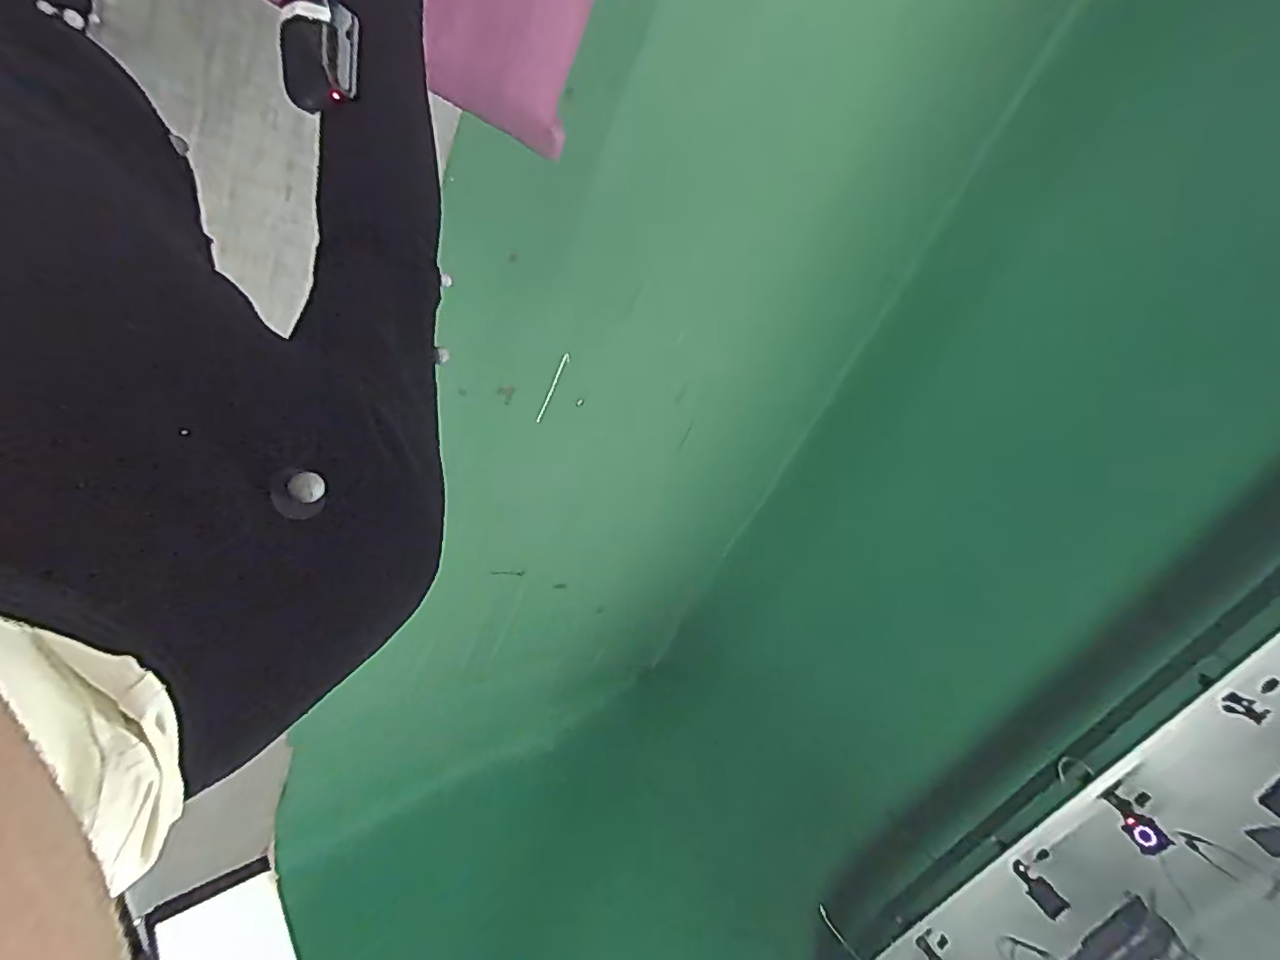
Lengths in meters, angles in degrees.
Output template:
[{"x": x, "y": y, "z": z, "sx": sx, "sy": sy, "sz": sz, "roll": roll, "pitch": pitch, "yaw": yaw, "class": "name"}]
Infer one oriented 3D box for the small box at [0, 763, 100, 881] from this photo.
[{"x": -1.519, "y": 0.858, "z": 1.370, "sx": 0.179, "sy": 0.176, "sz": 0.168, "roll": 8, "pitch": 119, "yaw": -54, "class": "small box"}]
